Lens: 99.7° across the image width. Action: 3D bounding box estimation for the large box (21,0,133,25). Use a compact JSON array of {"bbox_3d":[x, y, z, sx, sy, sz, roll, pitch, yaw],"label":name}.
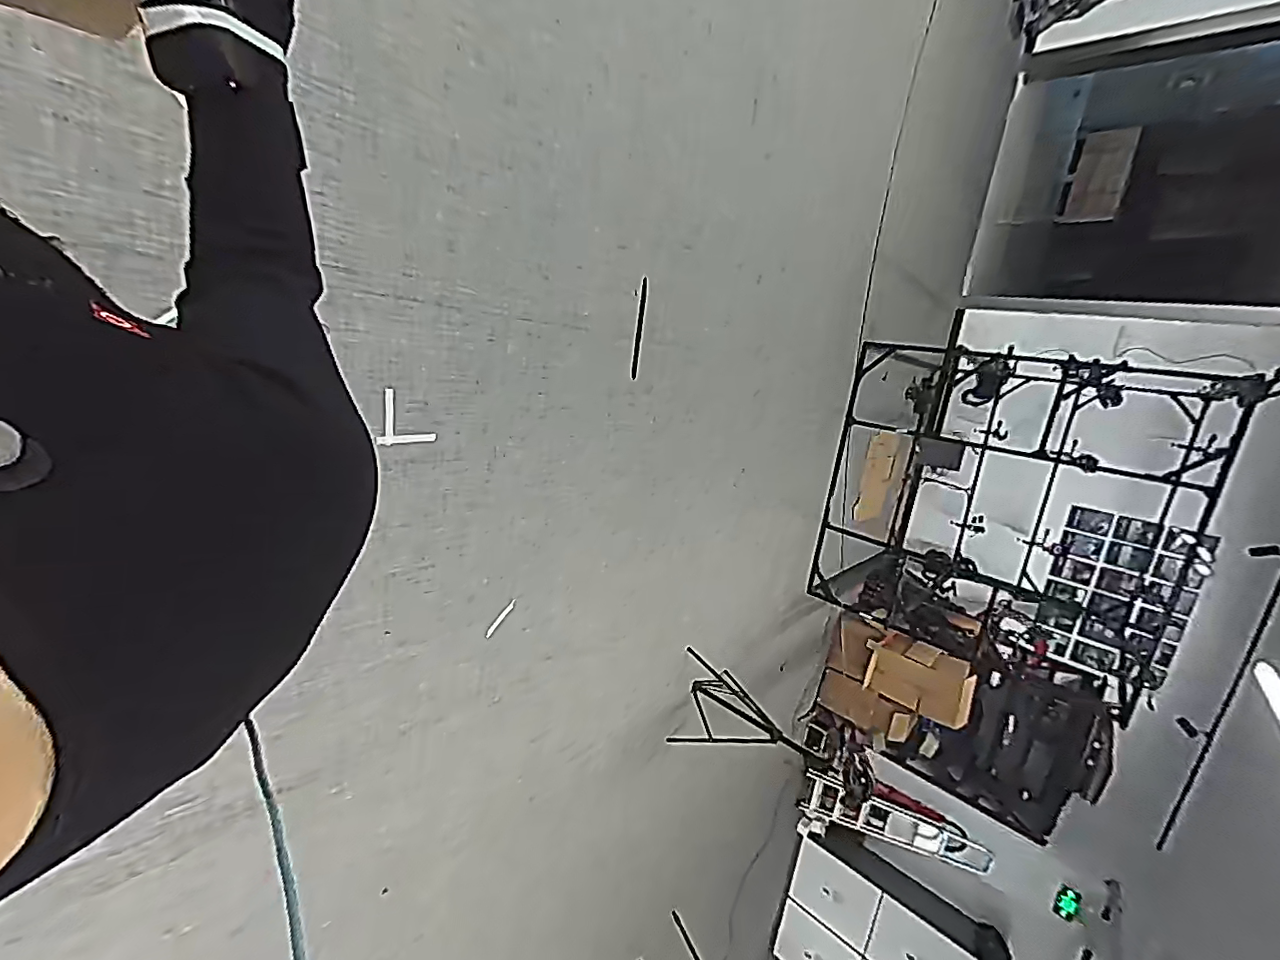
[{"bbox_3d":[-0.523,-0.504,0.252,0.408,0.320,0.320,-14,121,-48],"label":"large box"}]
